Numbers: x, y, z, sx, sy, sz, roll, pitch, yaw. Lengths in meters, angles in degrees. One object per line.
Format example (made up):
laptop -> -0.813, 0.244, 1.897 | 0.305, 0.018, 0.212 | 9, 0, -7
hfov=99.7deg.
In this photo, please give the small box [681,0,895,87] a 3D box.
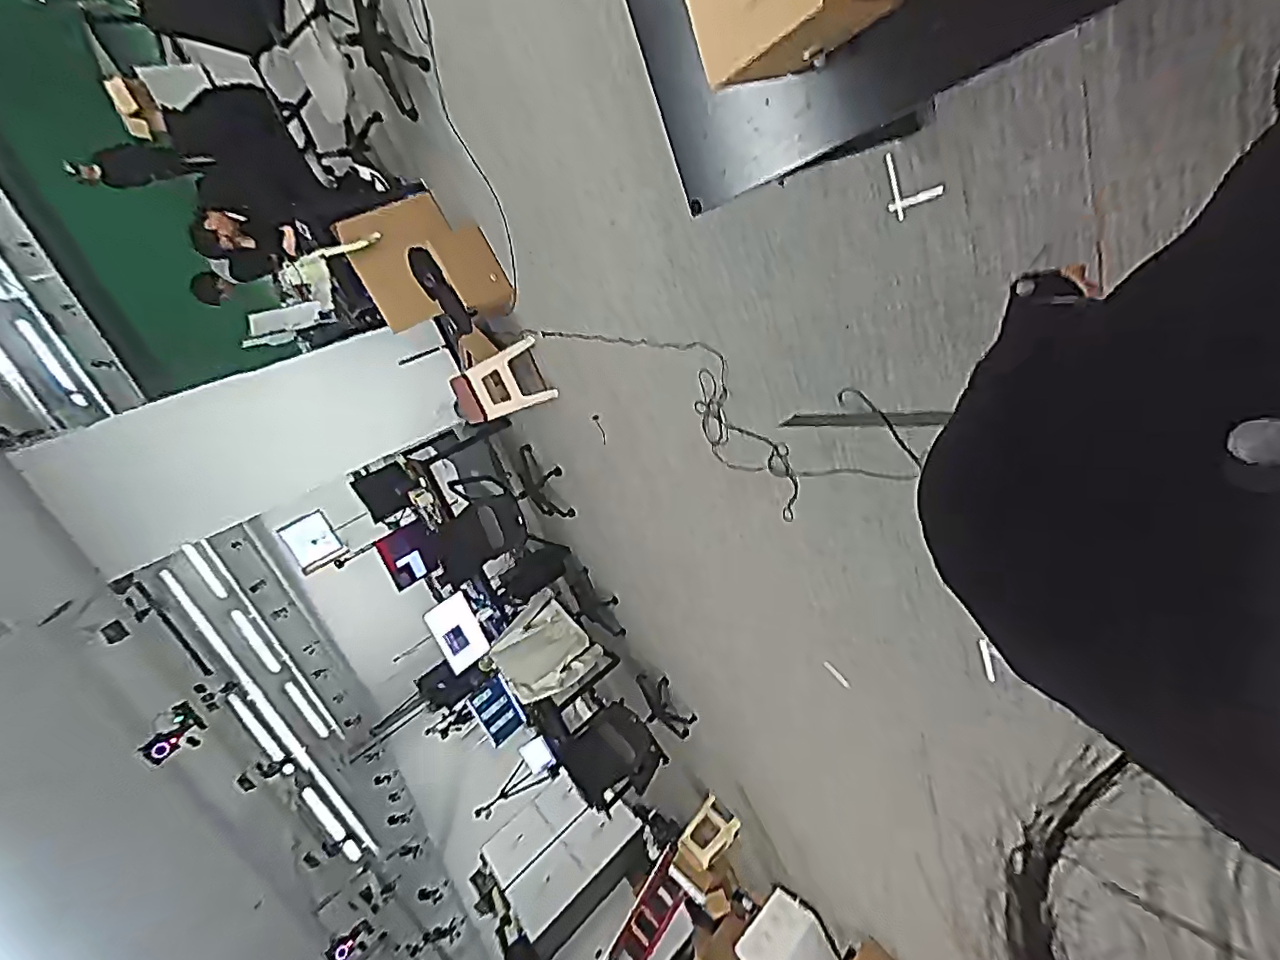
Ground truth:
small box -> 0.158, -0.581, 0.600 | 0.168, 0.176, 0.179 | 7, 124, 55
